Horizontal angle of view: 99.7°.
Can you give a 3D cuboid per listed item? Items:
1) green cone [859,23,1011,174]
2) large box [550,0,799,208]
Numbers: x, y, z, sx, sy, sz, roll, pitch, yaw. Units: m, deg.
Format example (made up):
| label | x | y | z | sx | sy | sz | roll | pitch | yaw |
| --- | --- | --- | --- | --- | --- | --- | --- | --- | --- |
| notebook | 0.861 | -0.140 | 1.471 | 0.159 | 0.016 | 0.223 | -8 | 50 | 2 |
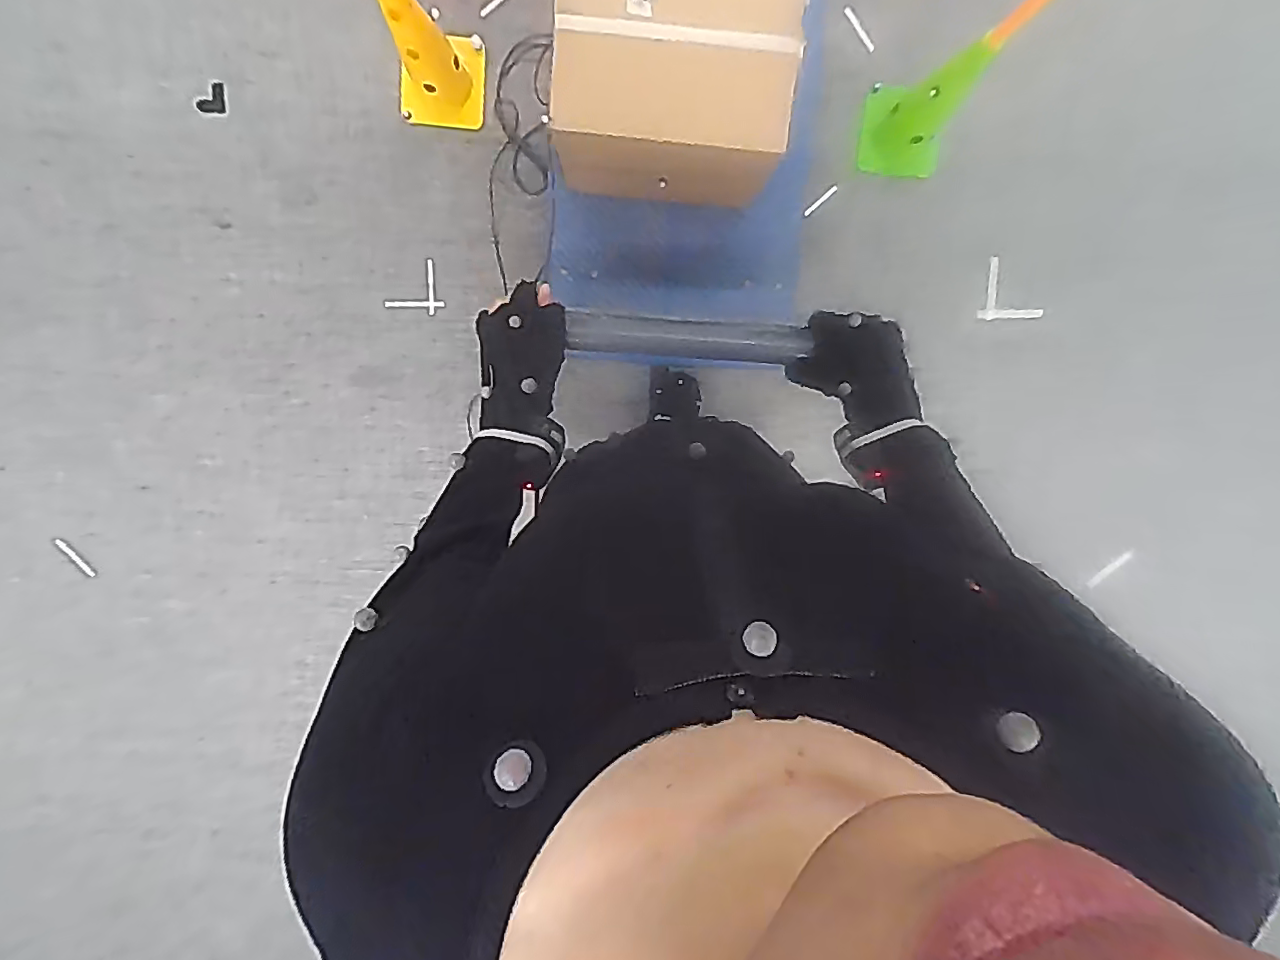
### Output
| label | x | y | z | sx | sy | sz | roll | pitch | yaw |
| --- | --- | --- | --- | --- | --- | --- | --- | --- | --- |
| green cone | 0.656 | -0.846 | 1.172 | 0.202 | 0.368 | 0.200 | 5 | 99 | -2 |
| large box | 0.059 | -0.742 | 1.039 | 0.408 | 0.320 | 0.320 | 5 | 99 | -1 |
